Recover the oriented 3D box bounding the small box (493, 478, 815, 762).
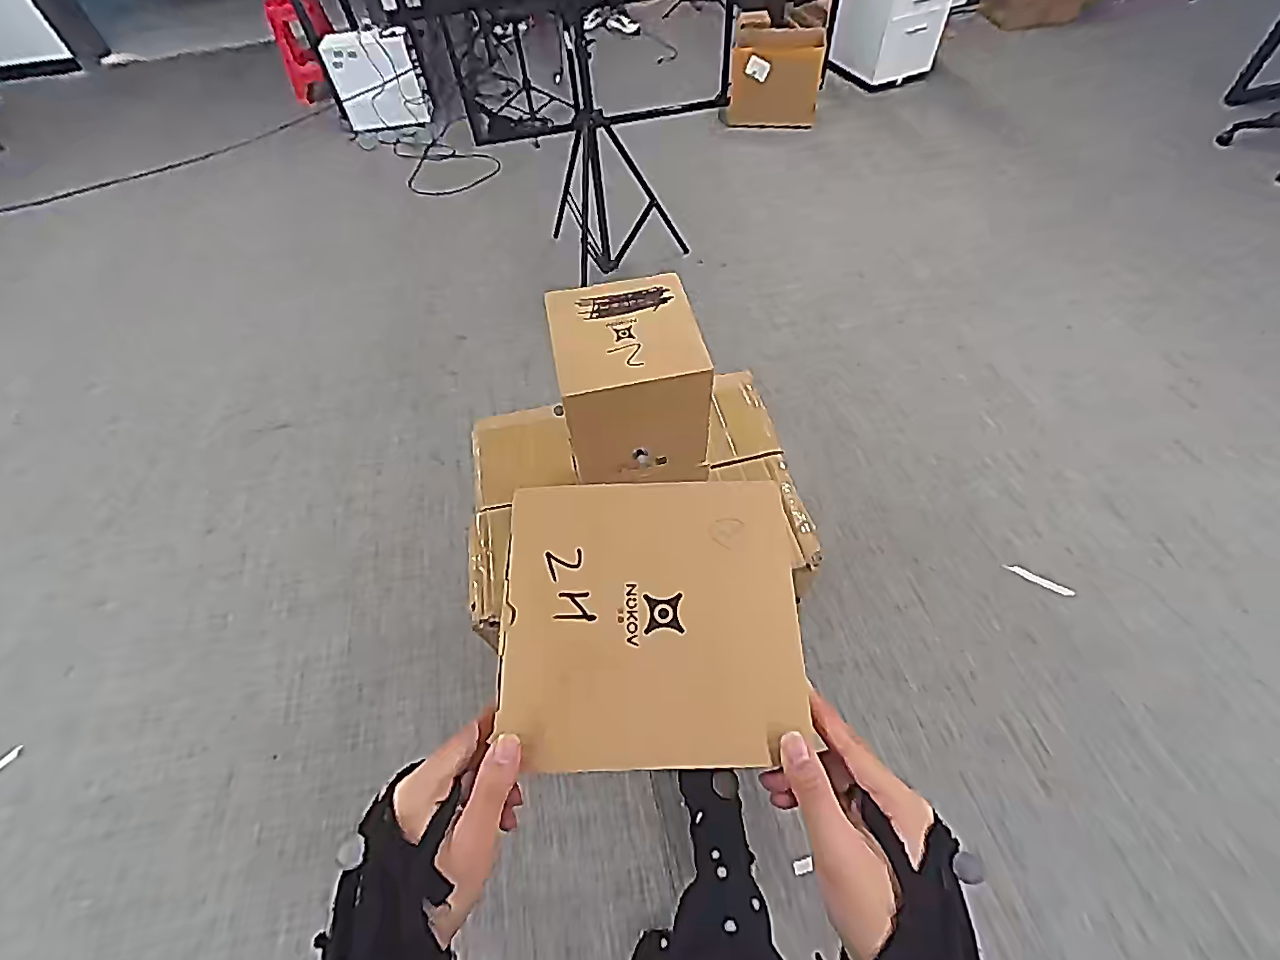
[{"bbox_3d":[0.008,0.107,0.393,0.179,0.176,0.168,-2,66,1],"label":"small box"}]

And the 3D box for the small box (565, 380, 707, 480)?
[{"bbox_3d":[-0.005,-0.021,0.808,0.179,0.176,0.168,-10,55,-4],"label":"small box"}]
